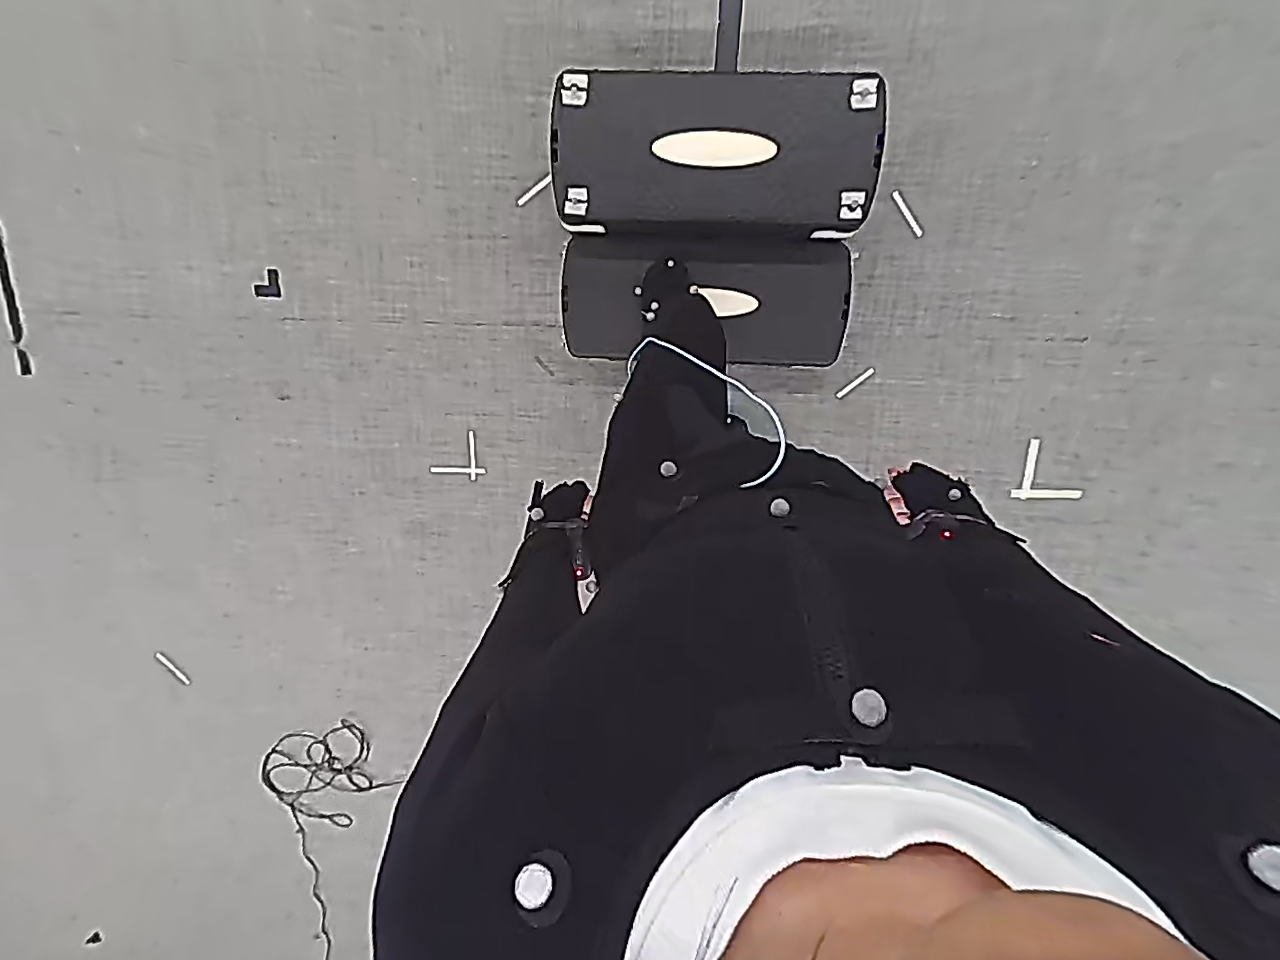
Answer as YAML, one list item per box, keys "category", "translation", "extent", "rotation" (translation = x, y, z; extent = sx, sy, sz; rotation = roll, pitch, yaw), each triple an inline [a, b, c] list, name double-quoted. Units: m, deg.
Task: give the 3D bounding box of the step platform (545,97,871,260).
- category: "step platform"
  translation: [0.137, -0.650, 1.187]
  extent: [0.684, 0.204, 0.286]
  rotation: [2, 105, 2]
